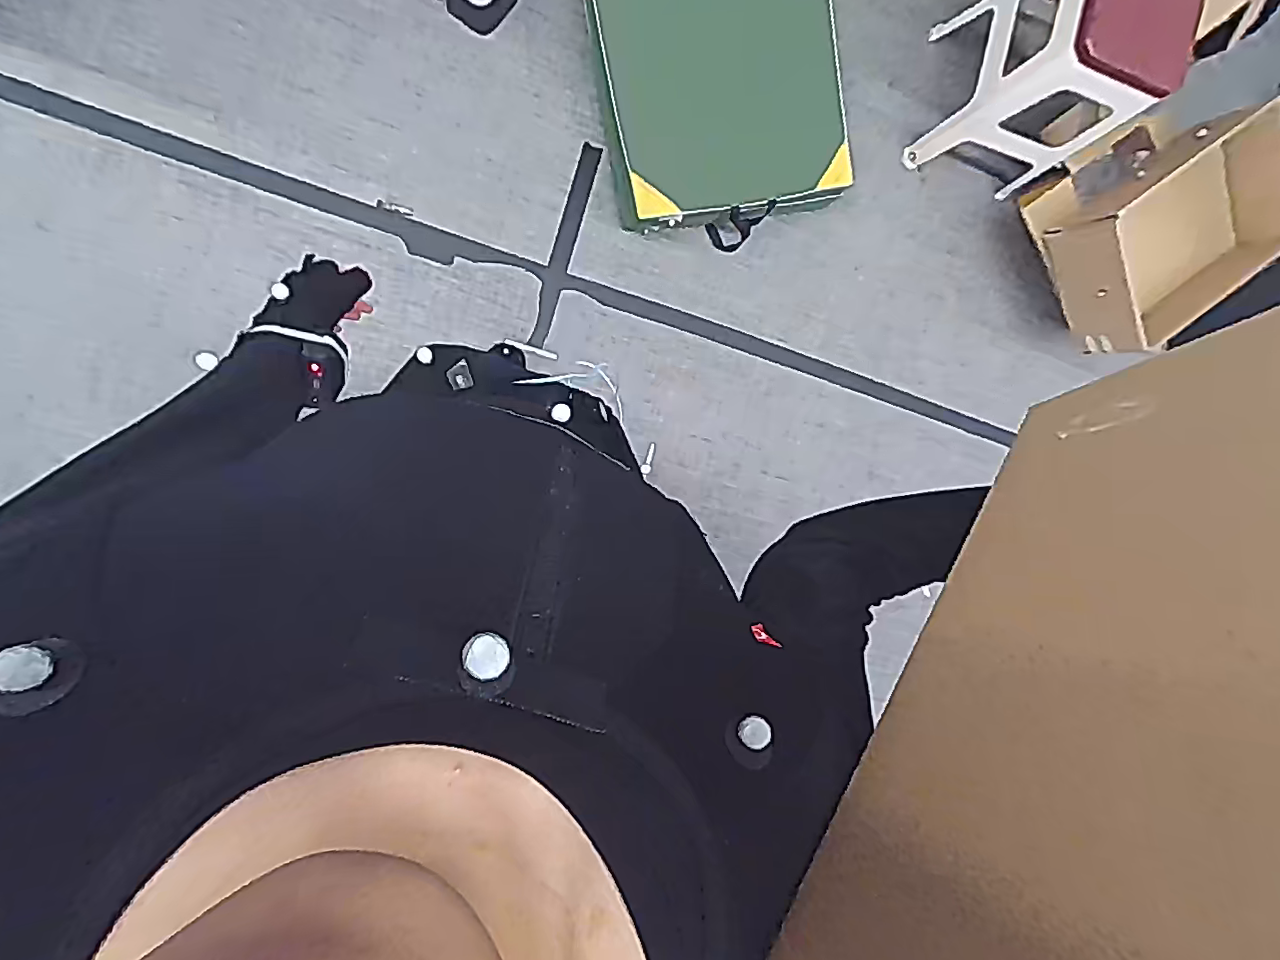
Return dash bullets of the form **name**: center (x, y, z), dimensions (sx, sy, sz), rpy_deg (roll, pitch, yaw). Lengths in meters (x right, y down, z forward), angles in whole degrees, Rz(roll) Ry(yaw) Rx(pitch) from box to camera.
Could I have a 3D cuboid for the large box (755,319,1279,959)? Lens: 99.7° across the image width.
- **large box**: center (0.326, 0.127, 0.179), dimensions (0.408, 0.320, 0.320), rpy_deg (-40, 95, -32)
